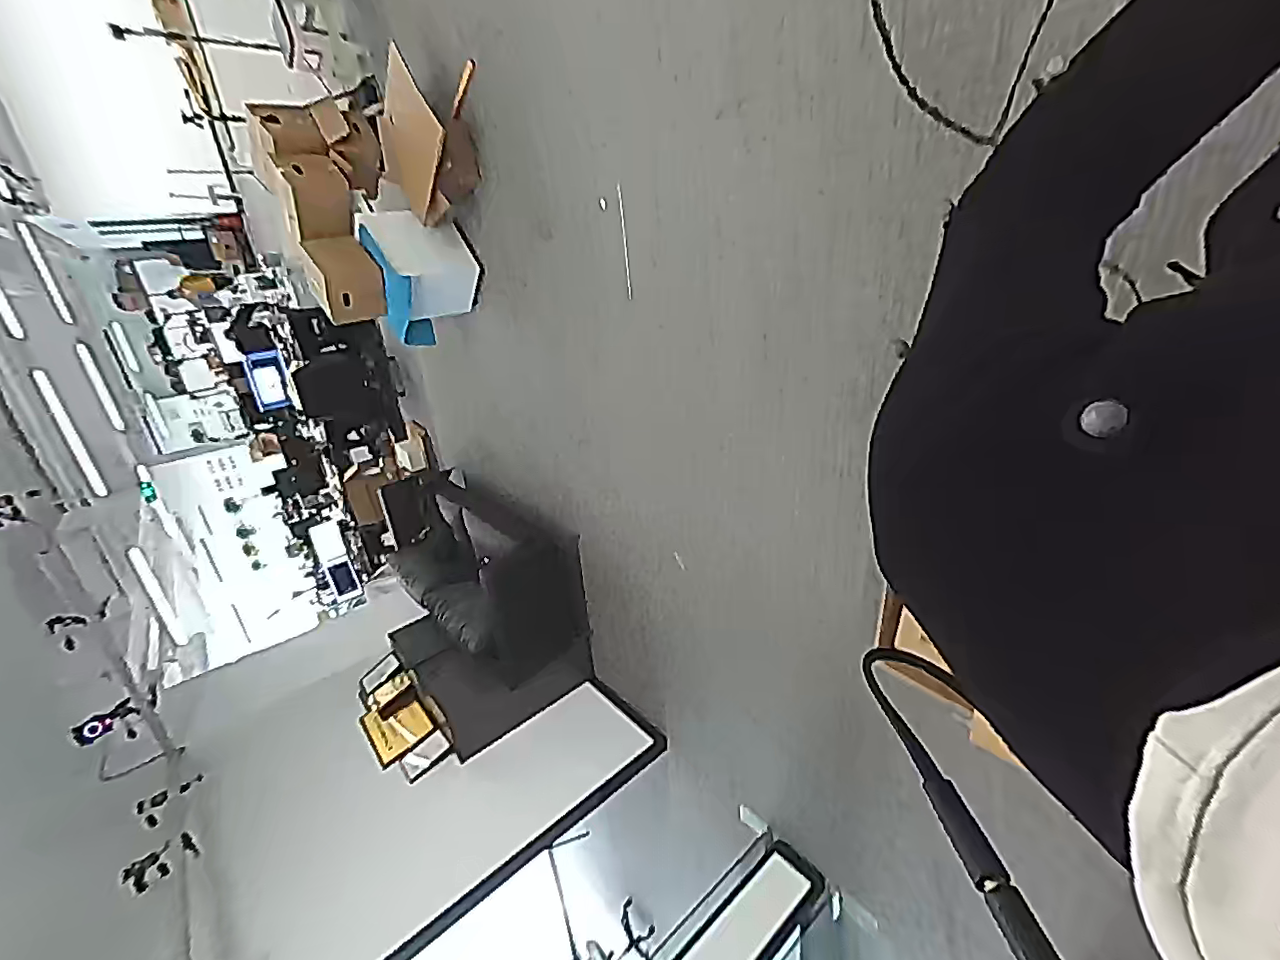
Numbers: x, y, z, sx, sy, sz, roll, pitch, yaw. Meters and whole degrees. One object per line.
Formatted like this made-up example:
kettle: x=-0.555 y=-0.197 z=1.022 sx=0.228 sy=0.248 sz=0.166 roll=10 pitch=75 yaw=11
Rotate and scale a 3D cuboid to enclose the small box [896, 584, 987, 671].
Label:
small box: x=0.928 y=0.444 z=1.666 sx=0.179 sy=0.176 sz=0.168 roll=27 pitch=129 yaw=43
